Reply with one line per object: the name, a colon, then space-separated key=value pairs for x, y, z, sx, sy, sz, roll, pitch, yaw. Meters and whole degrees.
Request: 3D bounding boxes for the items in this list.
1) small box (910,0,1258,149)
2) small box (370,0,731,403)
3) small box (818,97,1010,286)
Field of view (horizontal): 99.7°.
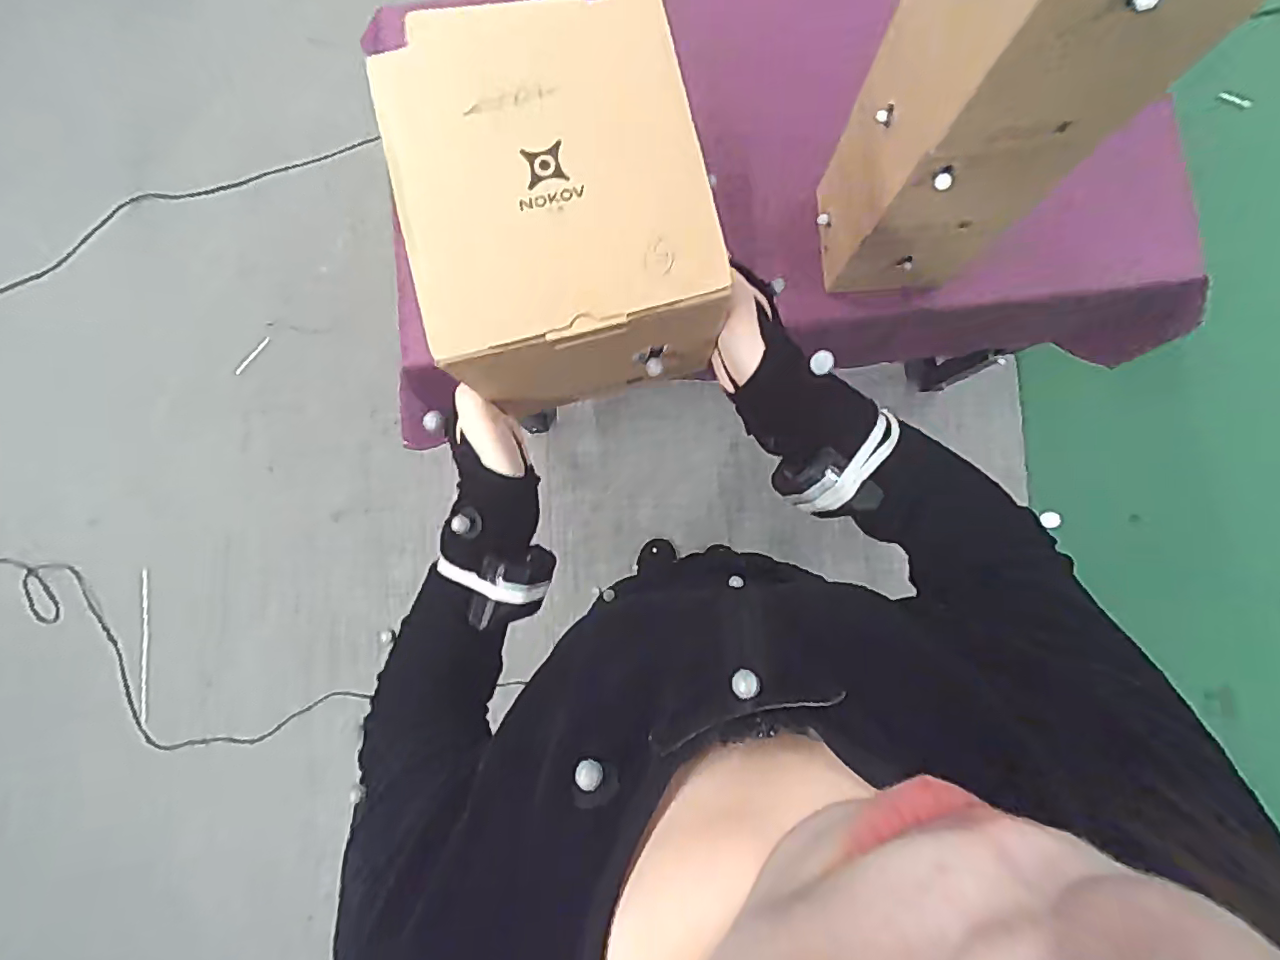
small box: x=0.323 y=-0.390 z=0.401 sx=0.168 sy=0.176 sz=0.179 roll=-6 pitch=84 yaw=3
small box: x=-0.046 y=-0.157 z=0.365 sx=0.168 sy=0.176 sz=0.179 roll=-13 pitch=87 yaw=0
small box: x=0.355 y=-0.378 z=0.730 sx=0.179 sy=0.176 sz=0.168 roll=-3 pitch=85 yaw=3
